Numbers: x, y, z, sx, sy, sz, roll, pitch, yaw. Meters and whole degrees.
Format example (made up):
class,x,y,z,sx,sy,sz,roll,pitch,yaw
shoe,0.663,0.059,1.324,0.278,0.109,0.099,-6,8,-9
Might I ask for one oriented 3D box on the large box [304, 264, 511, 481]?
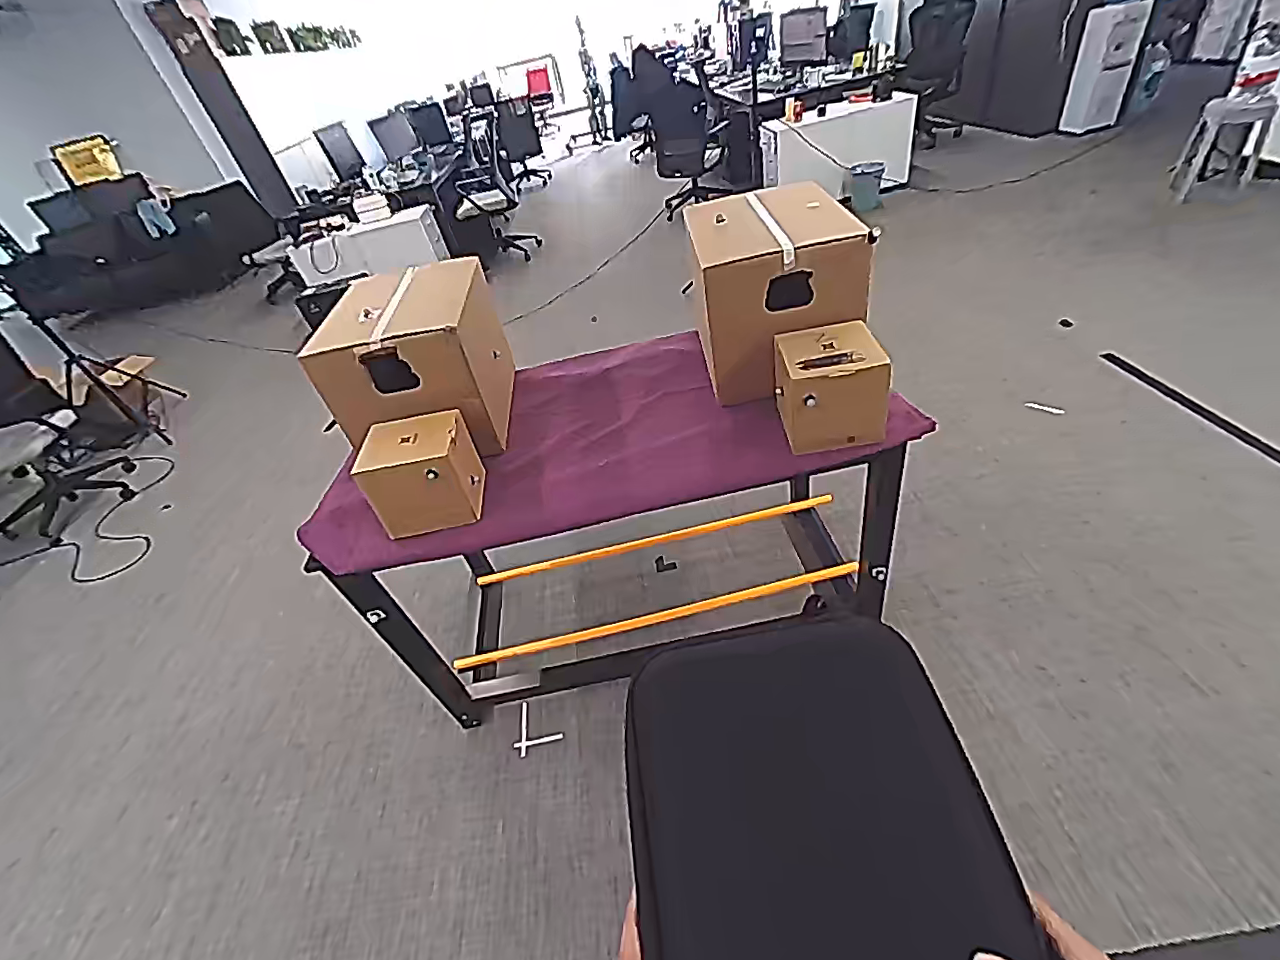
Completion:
class,x,y,z,sx,sy,sz,roll,pitch,yaw
large box,-0.501,-0.262,1.275,0.320,0.320,0.408,-12,42,1
